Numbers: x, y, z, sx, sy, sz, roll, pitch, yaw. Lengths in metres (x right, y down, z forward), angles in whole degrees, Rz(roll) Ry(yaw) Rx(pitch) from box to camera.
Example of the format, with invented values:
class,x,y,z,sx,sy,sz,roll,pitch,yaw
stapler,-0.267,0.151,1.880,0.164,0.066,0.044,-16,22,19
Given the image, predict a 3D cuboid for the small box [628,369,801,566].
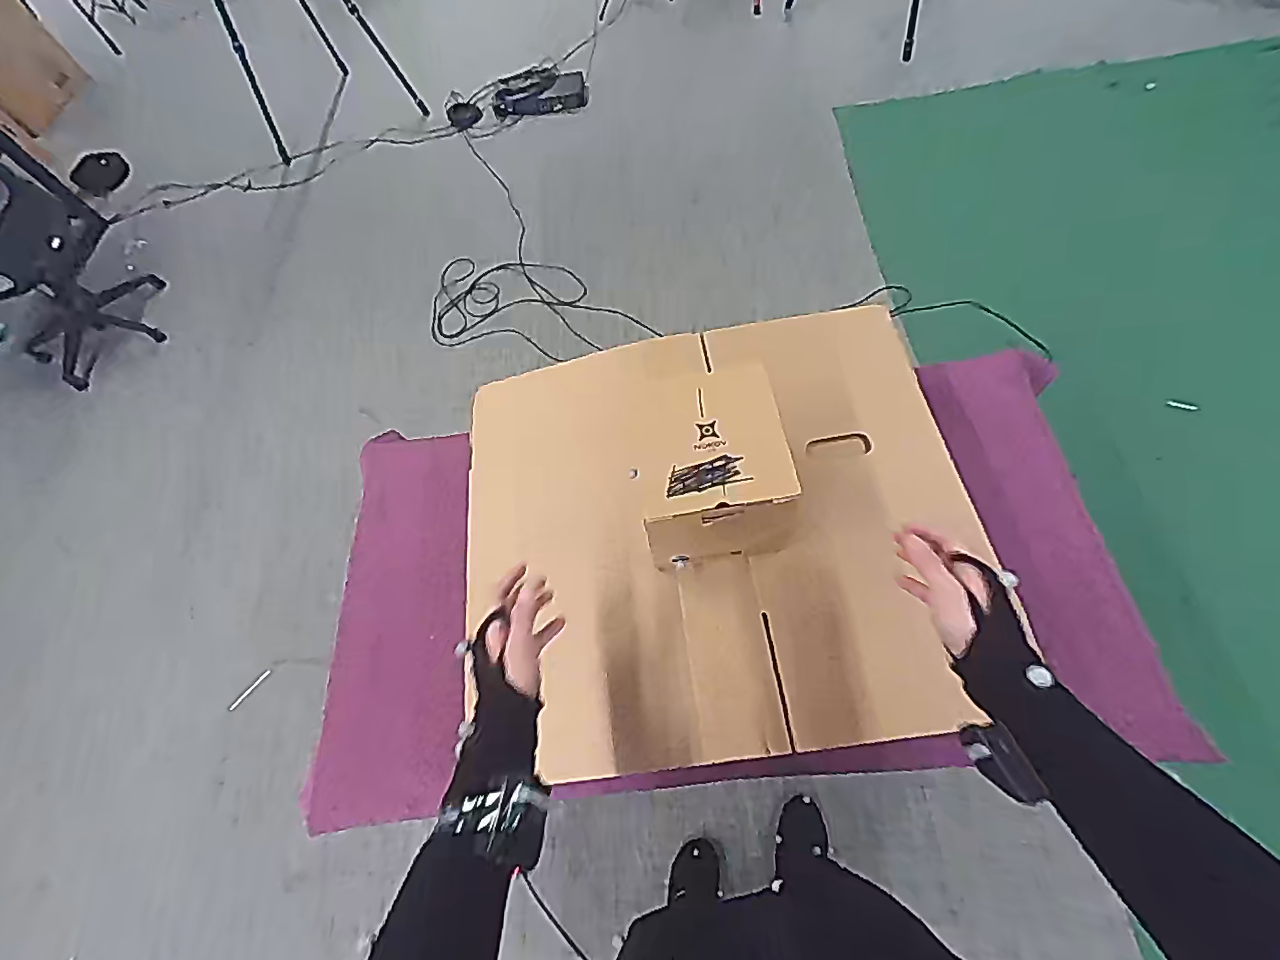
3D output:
class,x,y,z,sx,sy,sz,roll,pitch,yaw
small box,0.084,-0.004,0.658,0.168,0.176,0.179,-9,62,2
